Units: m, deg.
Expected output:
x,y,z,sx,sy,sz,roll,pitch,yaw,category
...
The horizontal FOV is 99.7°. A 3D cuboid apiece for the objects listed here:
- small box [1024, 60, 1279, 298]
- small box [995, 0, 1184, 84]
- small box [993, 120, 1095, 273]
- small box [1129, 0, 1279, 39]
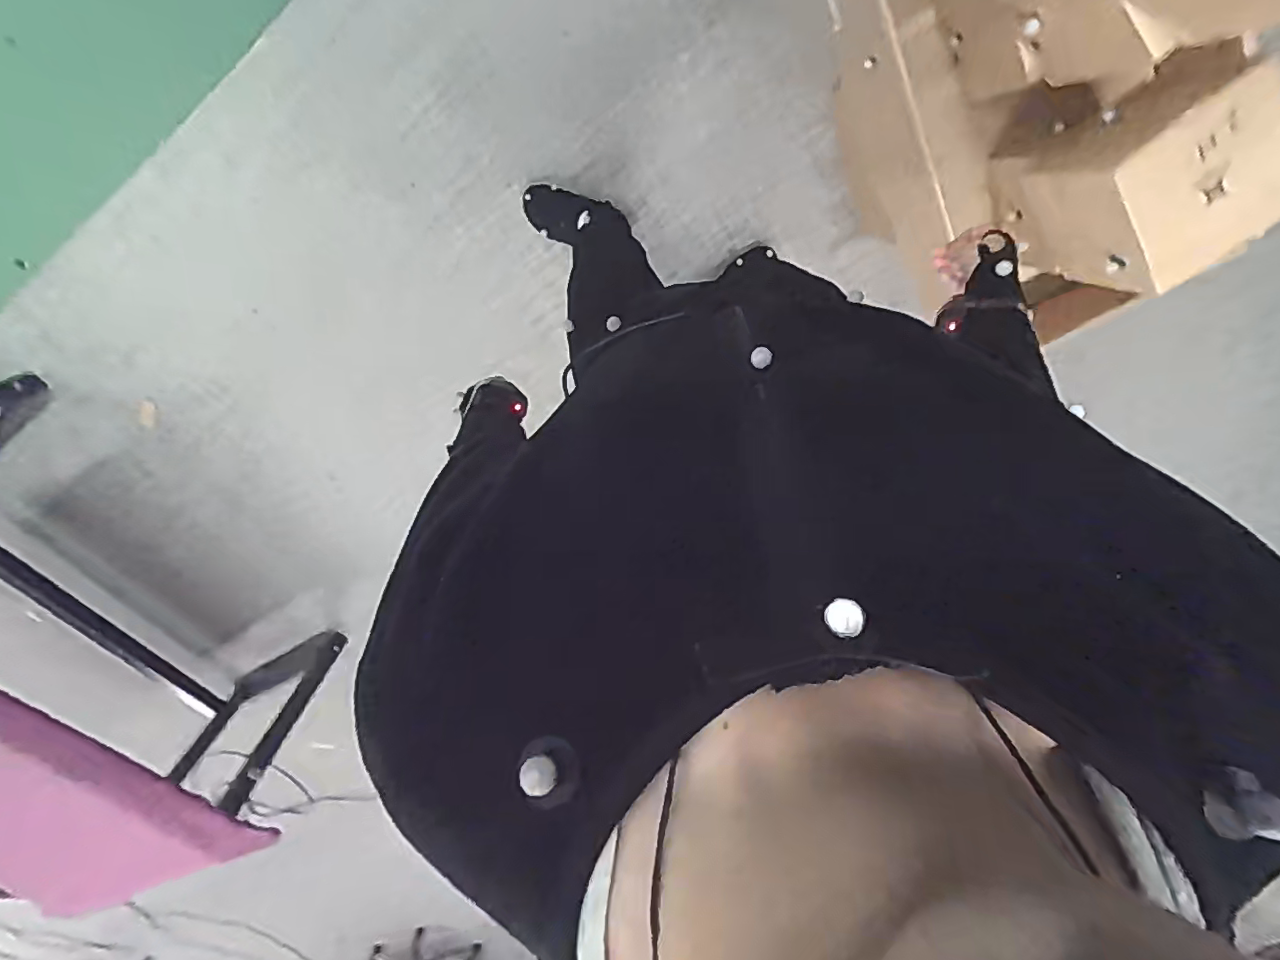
x,y,z,sx,sy,sz,roll,pitch,yaw,category
0.627,-0.357,0.663,0.168,0.176,0.179,-36,112,17,small box
0.515,-0.557,0.556,0.168,0.176,0.179,39,113,-18,small box
0.659,-0.429,0.811,0.179,0.176,0.168,-18,116,11,small box
0.498,-0.484,0.411,0.179,0.176,0.168,25,117,-12,small box
